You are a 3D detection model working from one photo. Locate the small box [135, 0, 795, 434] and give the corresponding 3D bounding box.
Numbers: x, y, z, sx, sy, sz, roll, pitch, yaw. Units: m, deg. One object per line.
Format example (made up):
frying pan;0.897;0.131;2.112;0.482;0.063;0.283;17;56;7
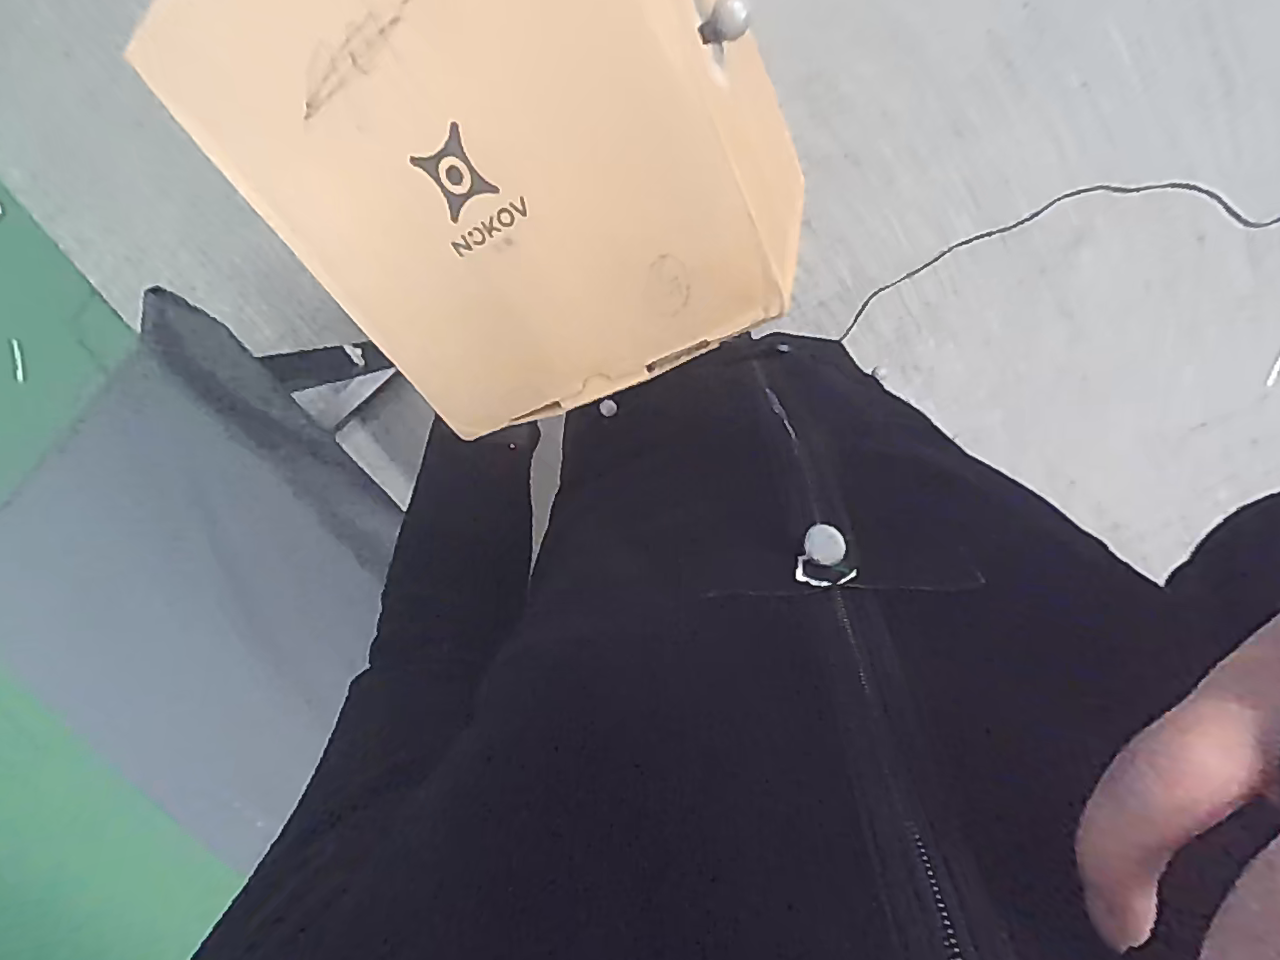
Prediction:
small box;-0.039;-0.154;0.238;0.168;0.176;0.179;-16;124;29
